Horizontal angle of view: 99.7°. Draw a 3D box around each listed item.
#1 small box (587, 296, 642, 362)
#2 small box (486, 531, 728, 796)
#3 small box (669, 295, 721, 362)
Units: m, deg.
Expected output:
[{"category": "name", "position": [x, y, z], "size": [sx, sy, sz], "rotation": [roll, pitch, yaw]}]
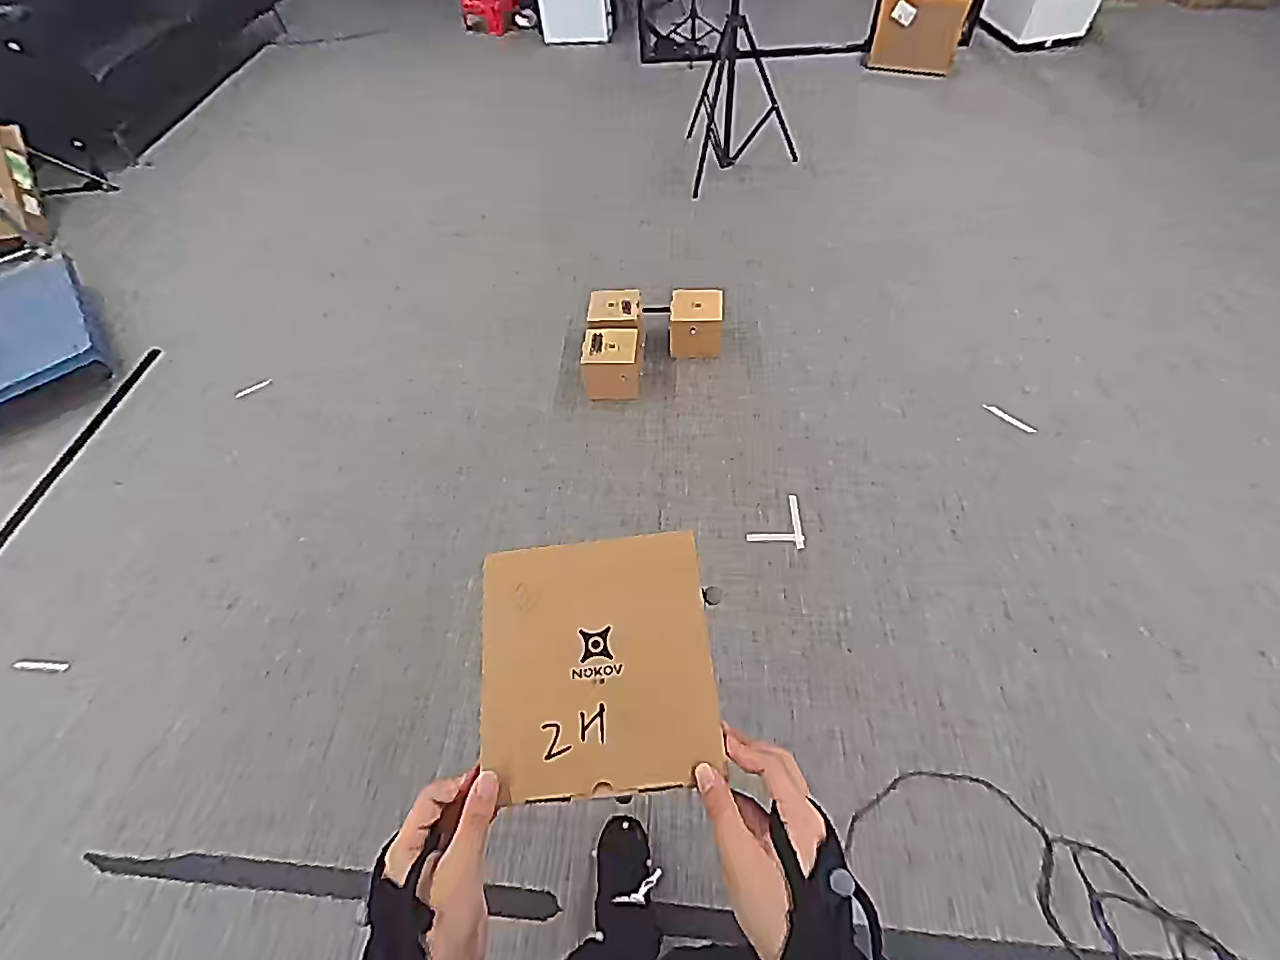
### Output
[{"category": "small box", "position": [-0.086, -0.542, 1.952], "size": [0.179, 0.176, 0.168], "rotation": [0, 56, 6]}, {"category": "small box", "position": [-0.022, 0.160, 0.466], "size": [0.168, 0.176, 0.179], "rotation": [-7, 65, 3]}, {"category": "small box", "position": [0.197, -0.537, 1.926], "size": [0.179, 0.176, 0.168], "rotation": [1, 56, 7]}]
